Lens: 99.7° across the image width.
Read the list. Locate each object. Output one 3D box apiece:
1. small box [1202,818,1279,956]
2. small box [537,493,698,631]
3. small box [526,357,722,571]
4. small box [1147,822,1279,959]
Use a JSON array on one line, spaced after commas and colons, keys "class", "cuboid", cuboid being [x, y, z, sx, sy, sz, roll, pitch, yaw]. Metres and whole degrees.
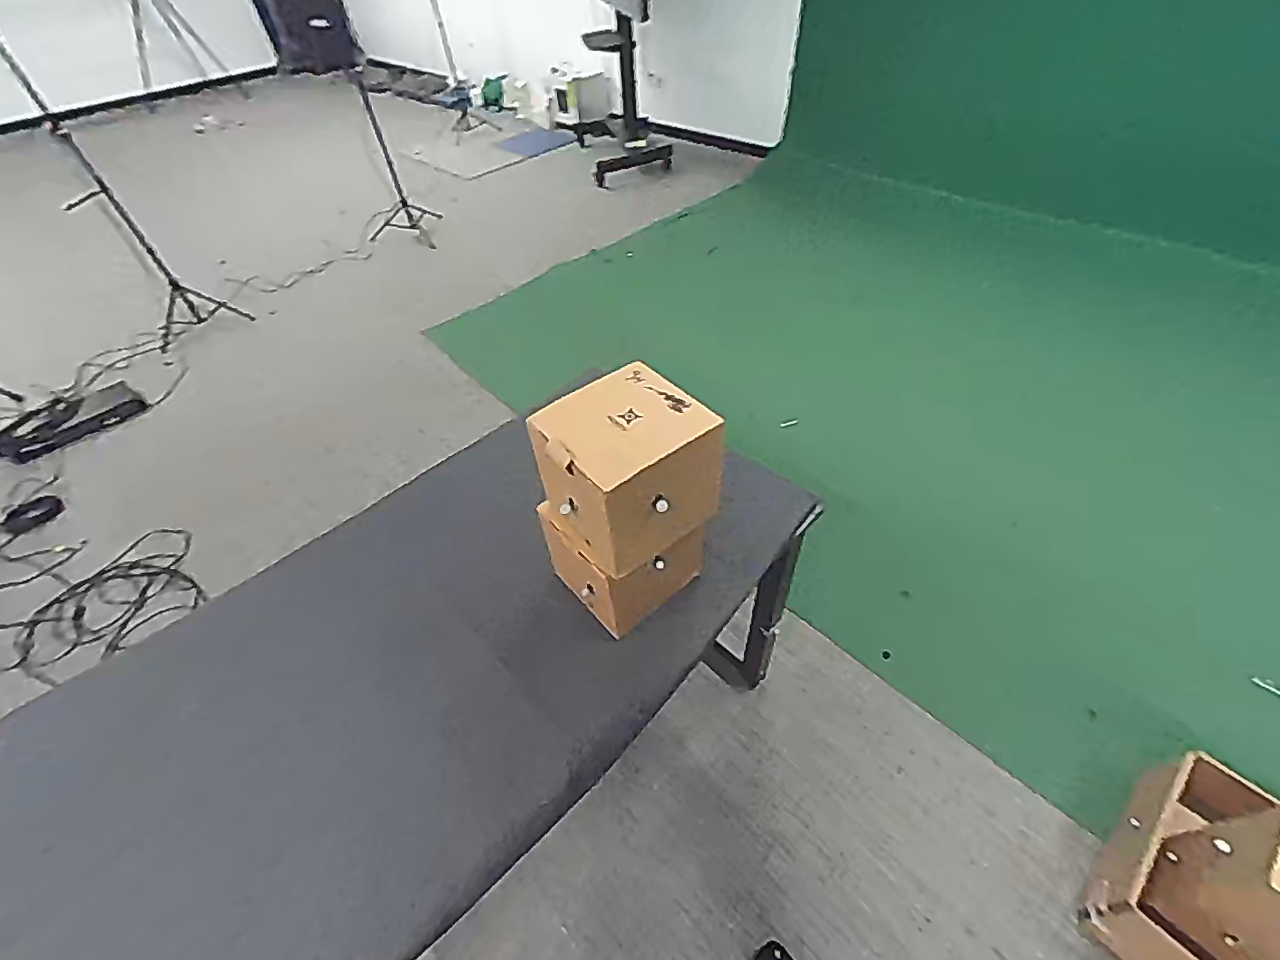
[{"class": "small box", "cuboid": [1.097, 0.680, 0.878, 0.168, 0.176, 0.179, -35, 55, -24]}, {"class": "small box", "cuboid": [-0.024, 0.089, 0.805, 0.179, 0.176, 0.168, -34, 54, -25]}, {"class": "small box", "cuboid": [-0.014, -0.019, 0.680, 0.179, 0.176, 0.168, -32, 53, -22]}, {"class": "small box", "cuboid": [1.110, 0.786, 1.003, 0.168, 0.176, 0.179, -37, 56, -24]}]
